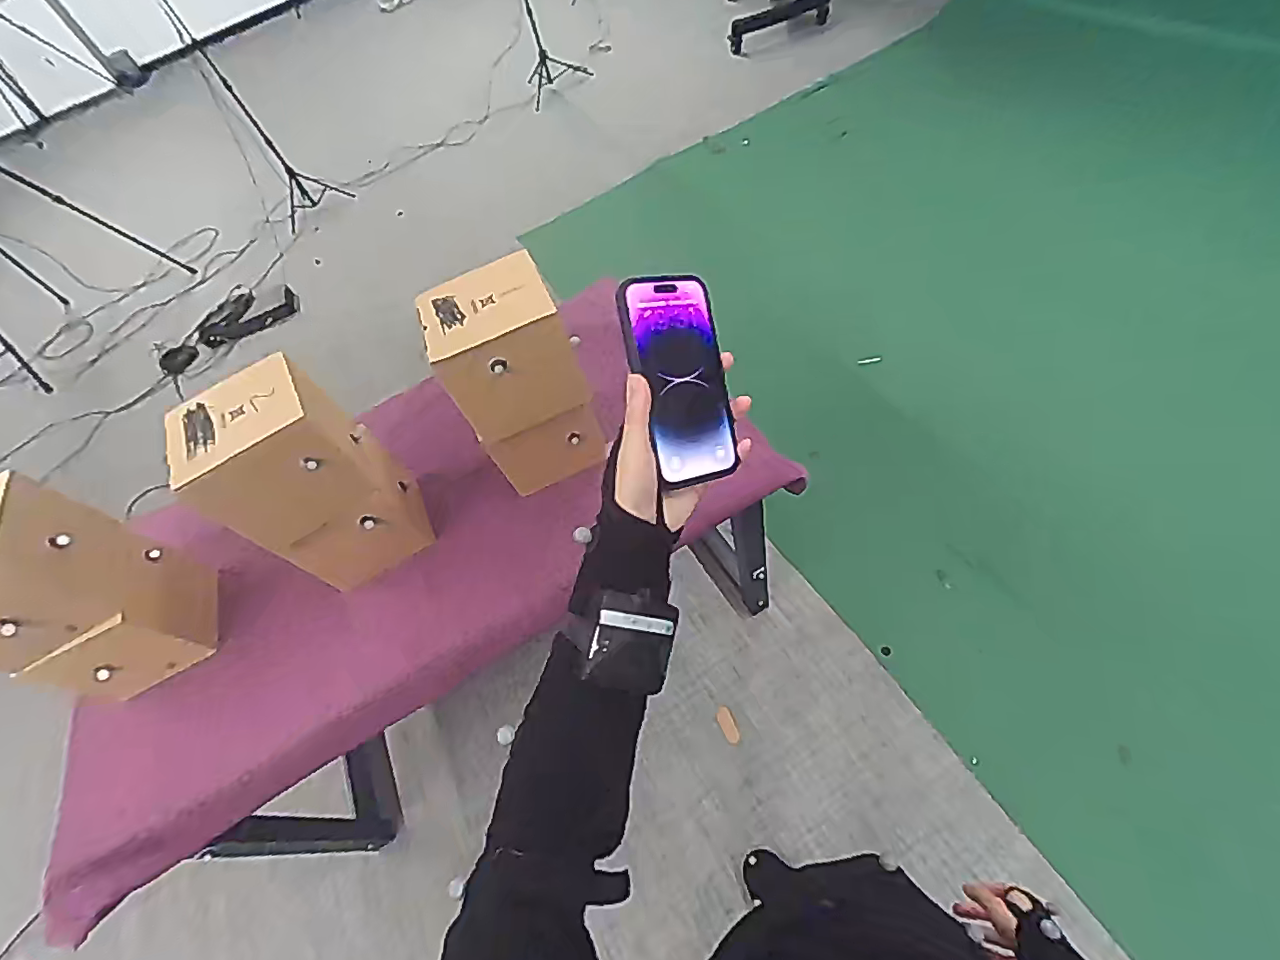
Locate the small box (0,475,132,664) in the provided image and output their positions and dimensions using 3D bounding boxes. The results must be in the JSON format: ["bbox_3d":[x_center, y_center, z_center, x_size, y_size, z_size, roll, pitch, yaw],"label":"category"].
[{"bbox_3d":[-0.860,0.133,0.751,0.168,0.176,0.179,-33,55,-9],"label":"small box"}]

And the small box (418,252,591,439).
[{"bbox_3d":[-0.192,-0.189,0.786,0.179,0.176,0.168,-24,54,-2],"label":"small box"}]

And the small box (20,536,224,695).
[{"bbox_3d":[-0.820,0.228,0.879,0.168,0.176,0.179,-29,54,-5],"label":"small box"}]

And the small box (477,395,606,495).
[{"bbox_3d":[-0.170,-0.106,0.927,0.179,0.176,0.168,-25,54,-1],"label":"small box"}]

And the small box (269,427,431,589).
[{"bbox_3d":[-0.472,0.051,0.902,0.179,0.176,0.168,-29,54,-5],"label":"small box"}]
